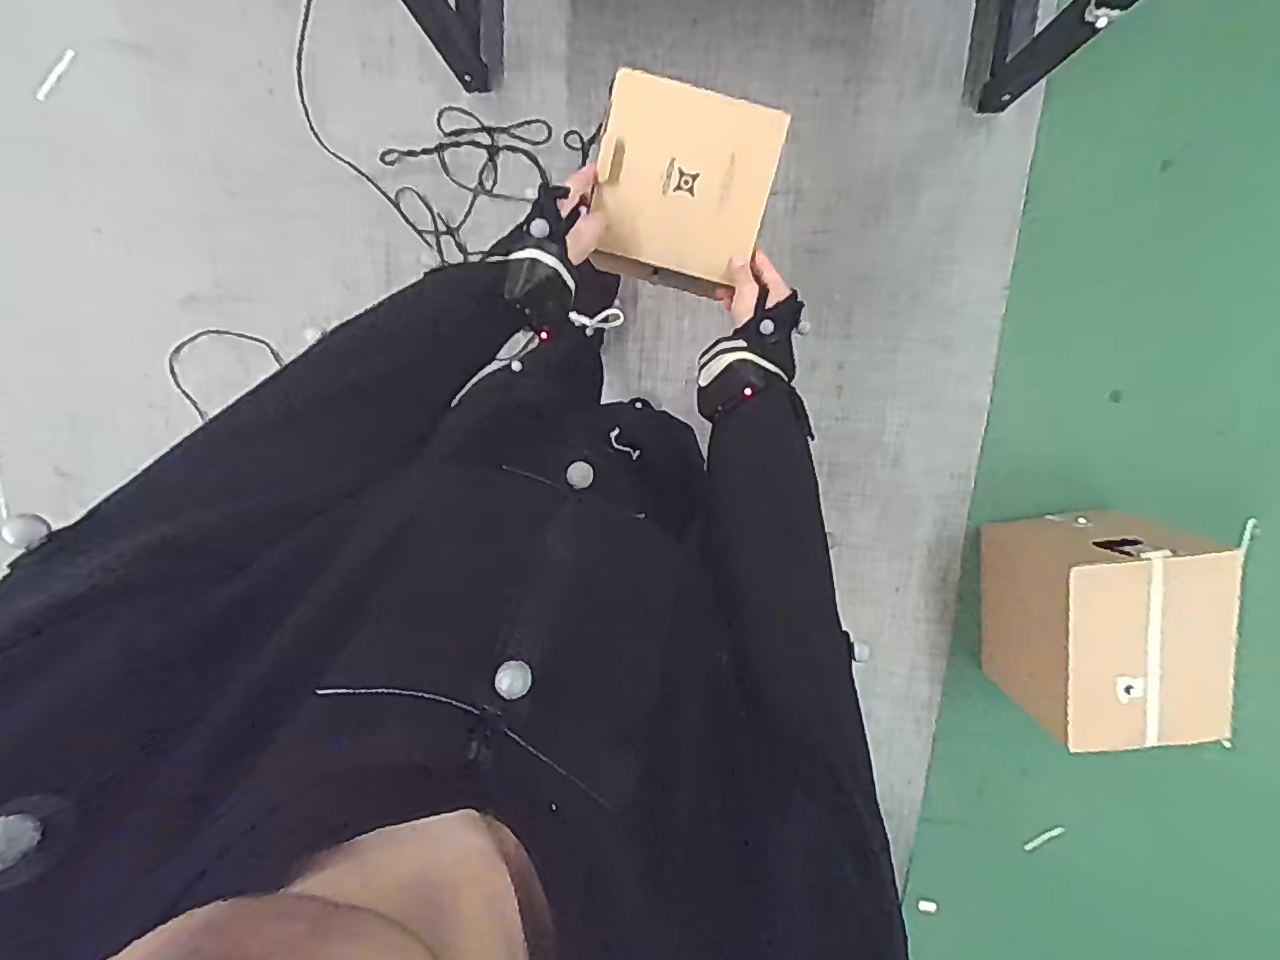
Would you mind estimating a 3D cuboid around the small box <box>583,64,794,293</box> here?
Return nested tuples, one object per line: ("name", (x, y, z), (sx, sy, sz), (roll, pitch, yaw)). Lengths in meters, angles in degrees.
("small box", (0.046, -0.317, 0.610), (0.179, 0.176, 0.168), (14, 105, -3))
